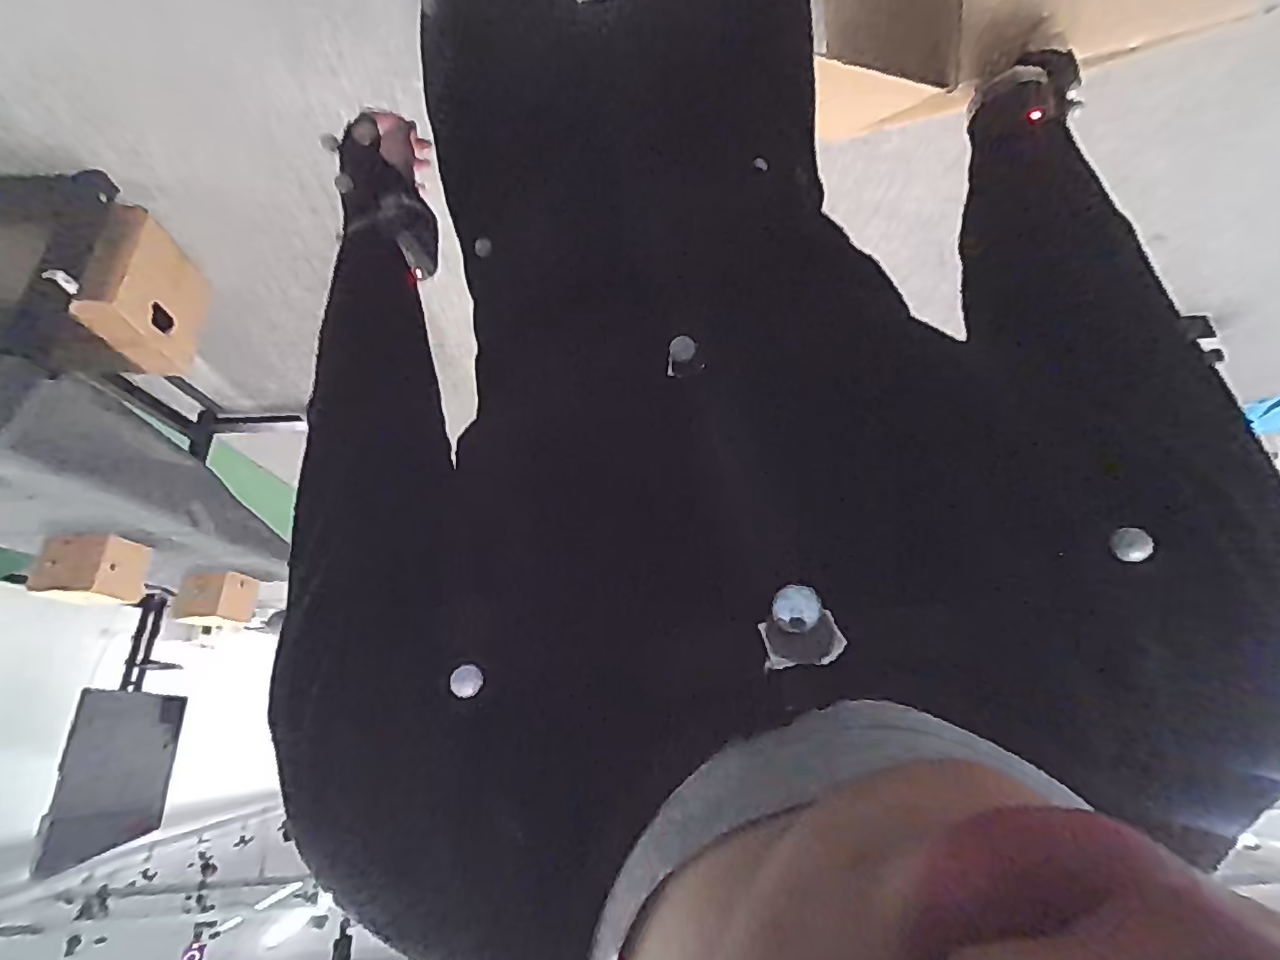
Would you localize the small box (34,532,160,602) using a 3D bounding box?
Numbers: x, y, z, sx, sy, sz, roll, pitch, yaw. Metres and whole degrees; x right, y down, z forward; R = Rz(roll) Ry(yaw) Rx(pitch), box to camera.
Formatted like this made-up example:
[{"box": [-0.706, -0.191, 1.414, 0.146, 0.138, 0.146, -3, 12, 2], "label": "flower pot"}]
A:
[{"box": [-1.548, 0.251, 1.555, 0.168, 0.176, 0.179, 1, 158, -5], "label": "small box"}]

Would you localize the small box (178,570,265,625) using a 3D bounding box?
[{"box": [-1.526, 0.430, 1.981, 0.168, 0.176, 0.179, -3, 156, 2], "label": "small box"}]
